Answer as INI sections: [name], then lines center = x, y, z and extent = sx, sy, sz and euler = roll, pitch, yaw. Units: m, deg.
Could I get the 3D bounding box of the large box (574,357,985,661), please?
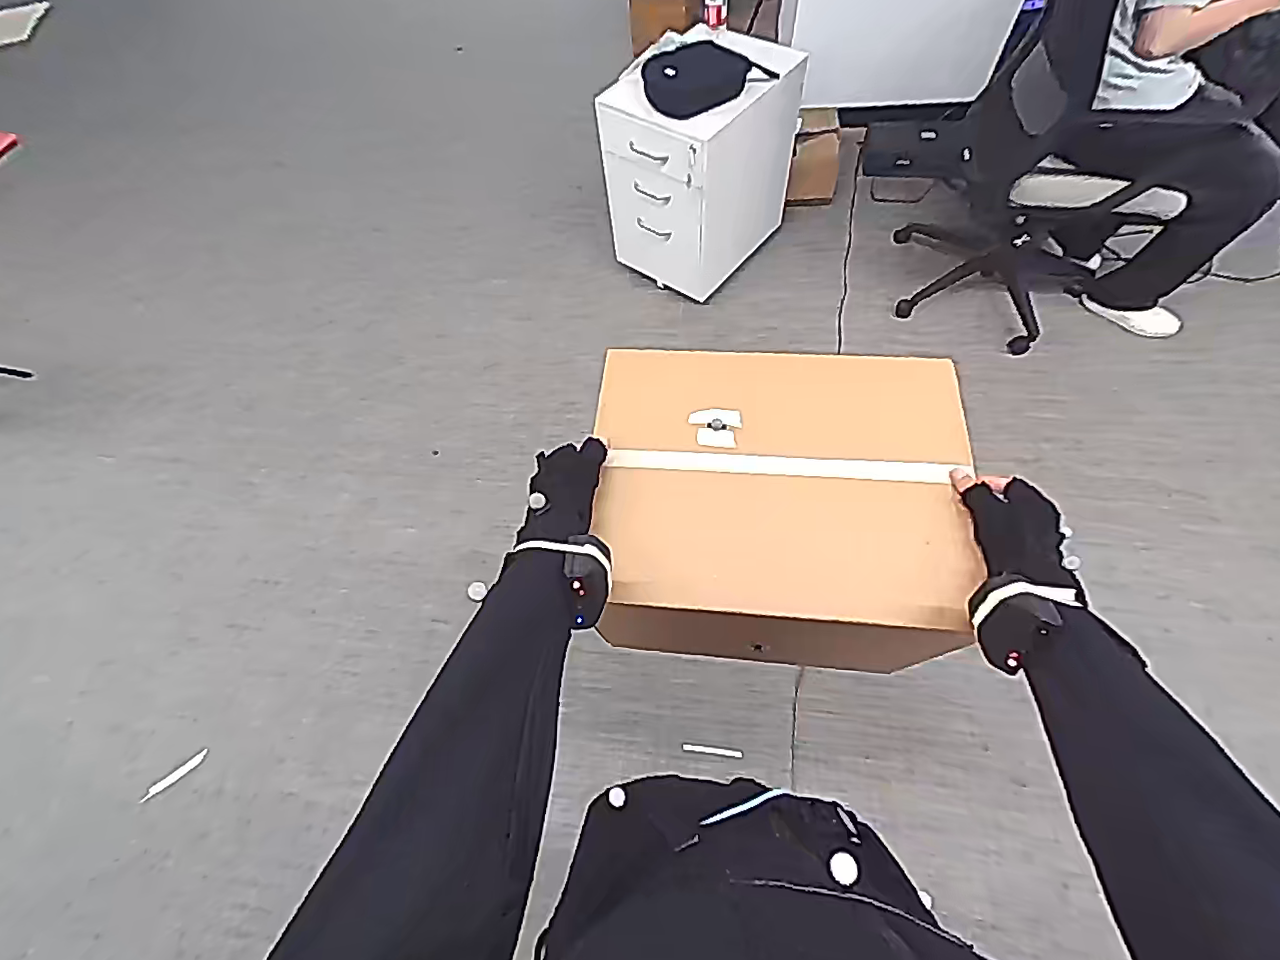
[large box]
center = 0.158, 0.054, 0.725
extent = 0.408, 0.320, 0.320
euler = 3, 64, 8
